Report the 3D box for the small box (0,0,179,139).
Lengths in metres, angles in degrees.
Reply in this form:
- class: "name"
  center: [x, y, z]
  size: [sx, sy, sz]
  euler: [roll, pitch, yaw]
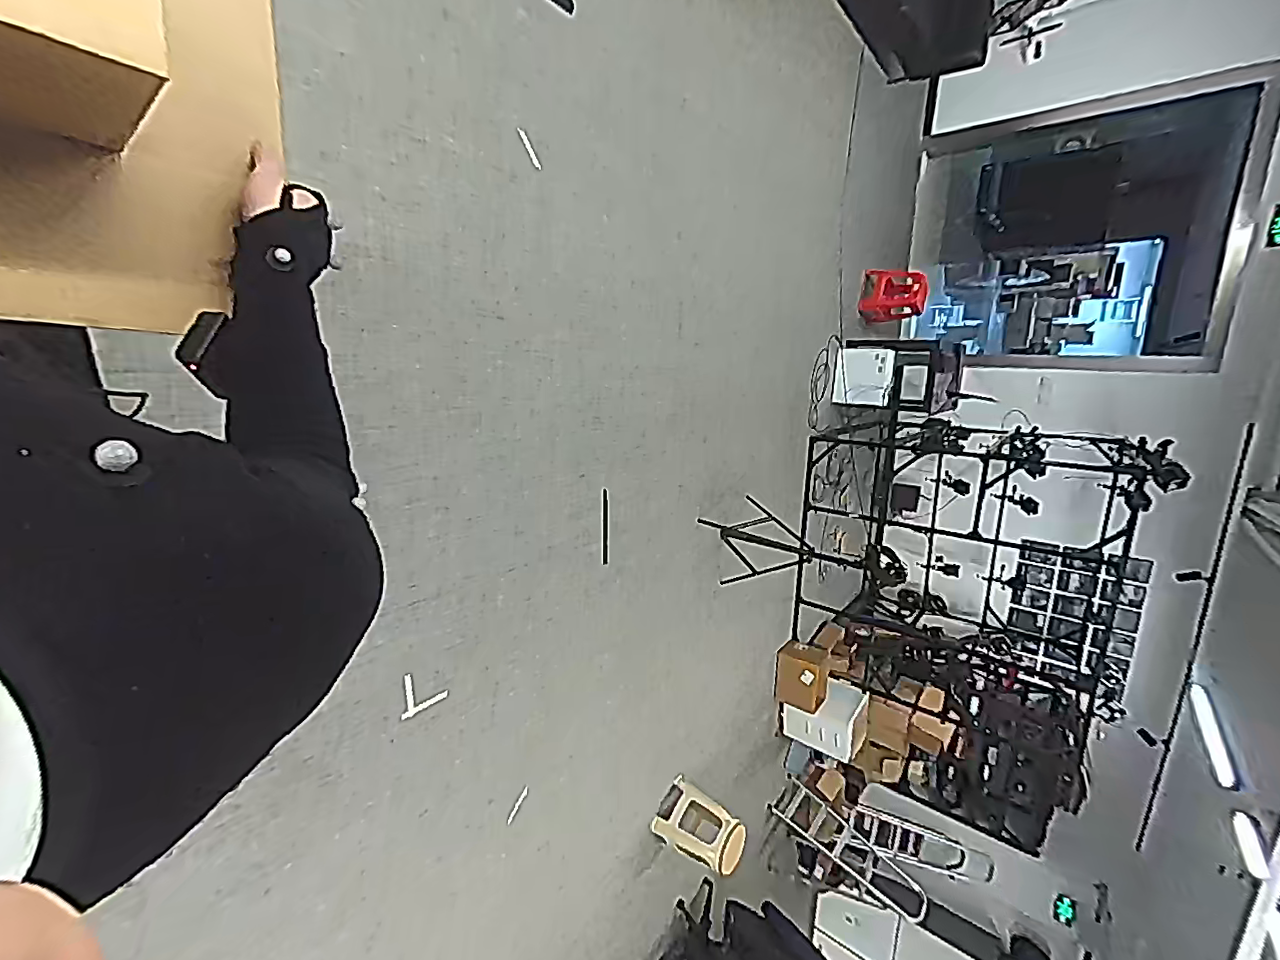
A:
- class: "small box"
  center: [-0.426, -0.342, 0.335]
  size: [0.179, 0.176, 0.168]
  euler: [-11, 104, -50]
